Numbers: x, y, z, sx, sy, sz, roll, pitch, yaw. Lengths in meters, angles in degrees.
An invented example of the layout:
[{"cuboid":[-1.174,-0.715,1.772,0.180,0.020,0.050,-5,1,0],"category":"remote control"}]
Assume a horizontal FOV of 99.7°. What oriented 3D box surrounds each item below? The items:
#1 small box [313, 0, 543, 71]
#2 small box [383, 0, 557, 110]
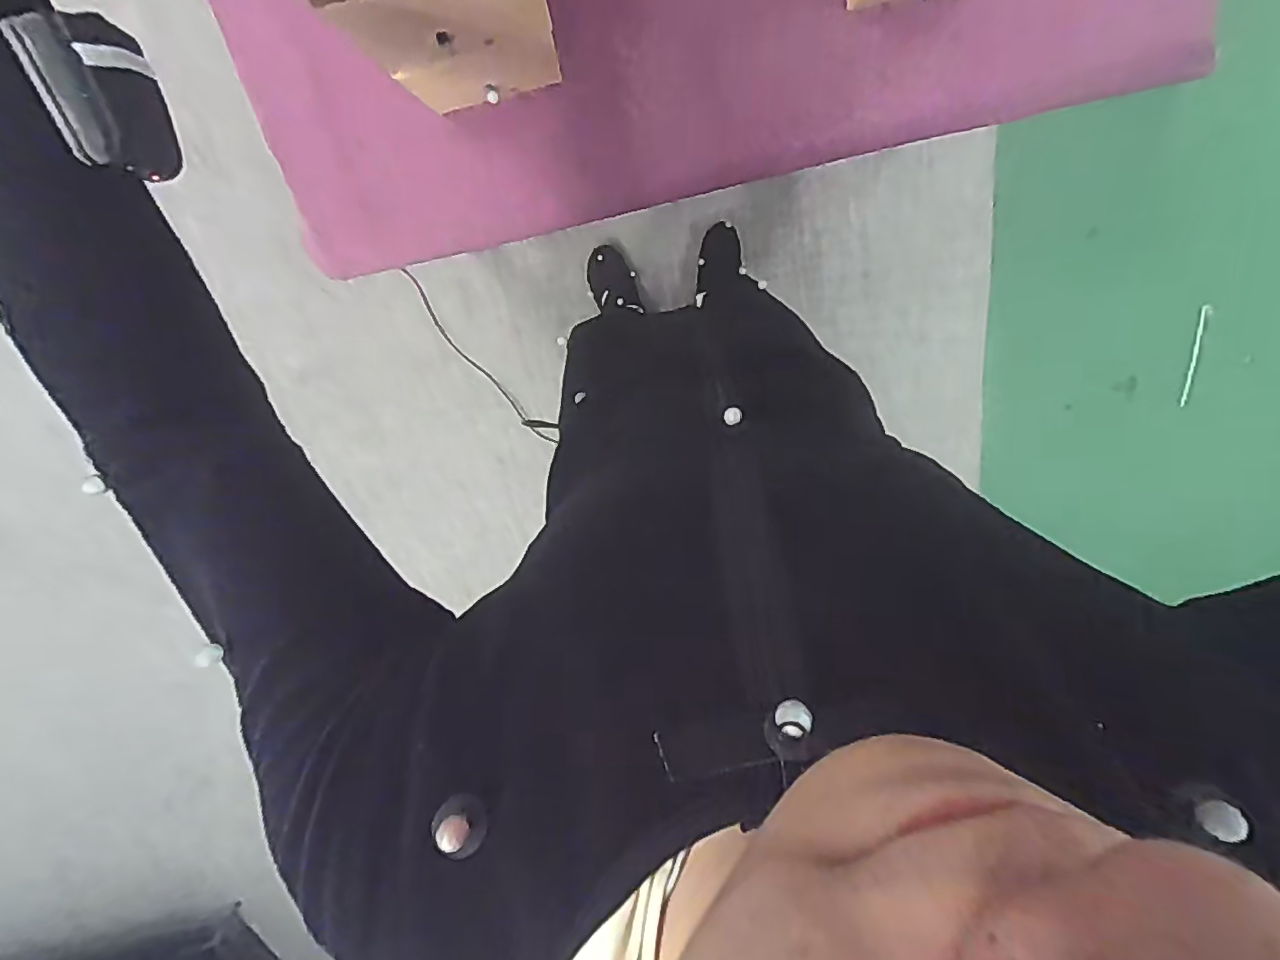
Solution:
[{"cuboid":[-0.185,-0.469,0.428,0.168,0.176,0.179,-15,114,2],"category":"small box"},{"cuboid":[-0.194,-0.532,0.577,0.168,0.176,0.179,-13,114,3],"category":"small box"}]
